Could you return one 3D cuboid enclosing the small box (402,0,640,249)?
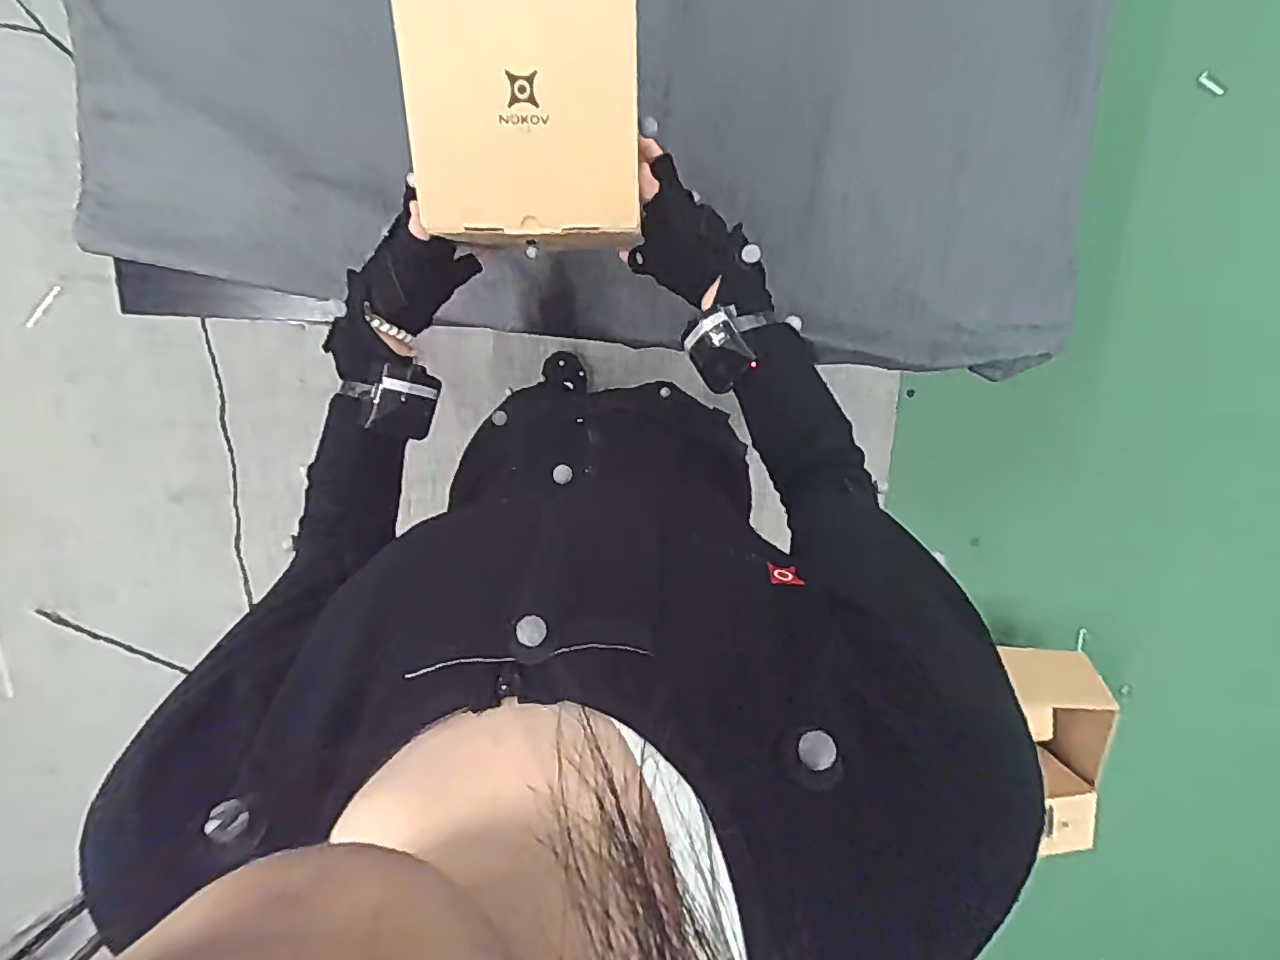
[{"bbox_3d":[-0.090,-0.302,0.469,0.168,0.176,0.179,-2,111,-4],"label":"small box"}]
